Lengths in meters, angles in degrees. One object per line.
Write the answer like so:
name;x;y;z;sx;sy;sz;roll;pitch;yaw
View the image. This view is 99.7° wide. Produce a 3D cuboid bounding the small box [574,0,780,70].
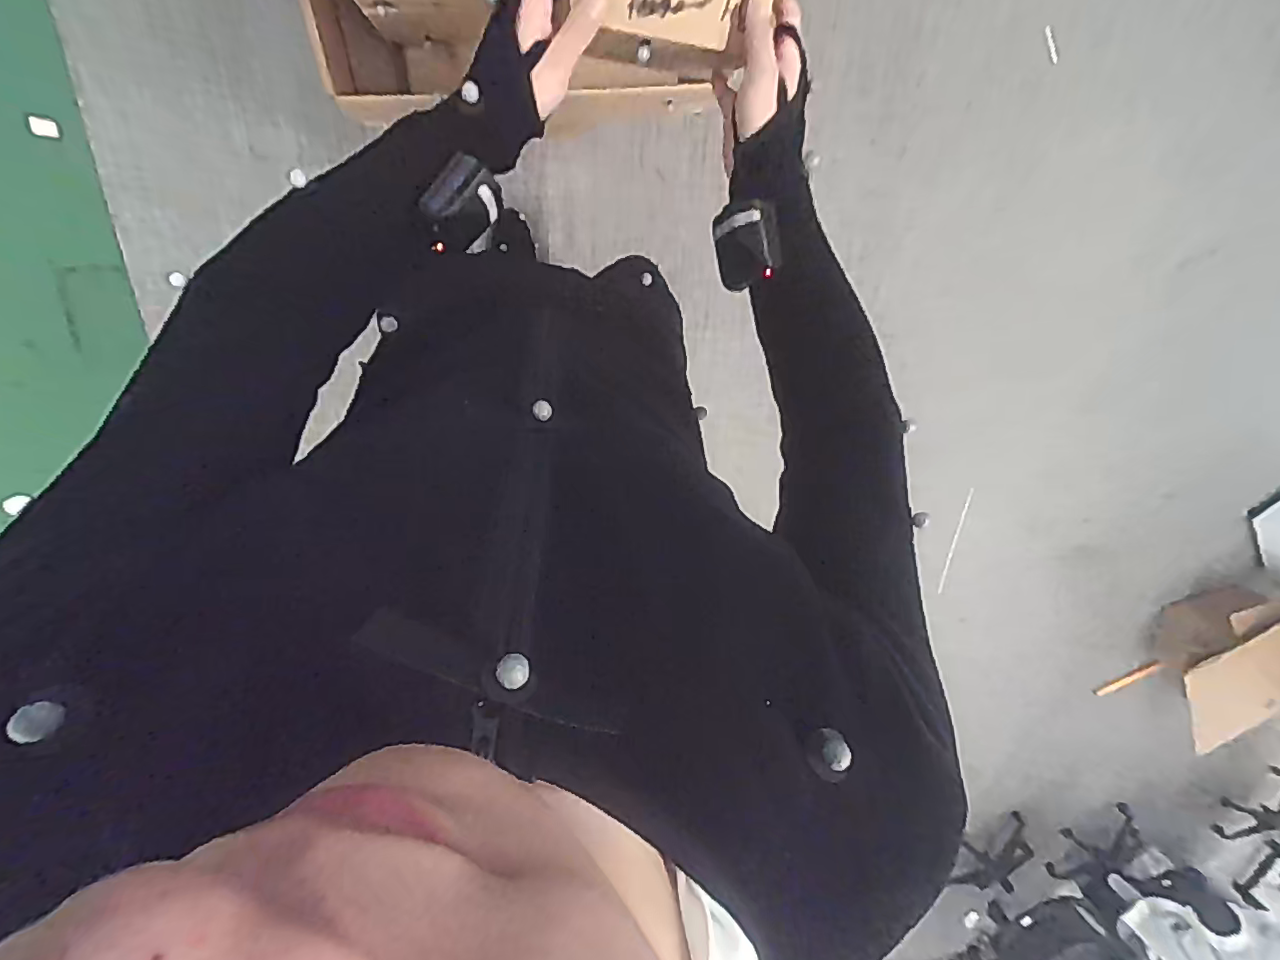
small box;0.032;-0.479;0.463;0.168;0.176;0.179;4;122;-9
